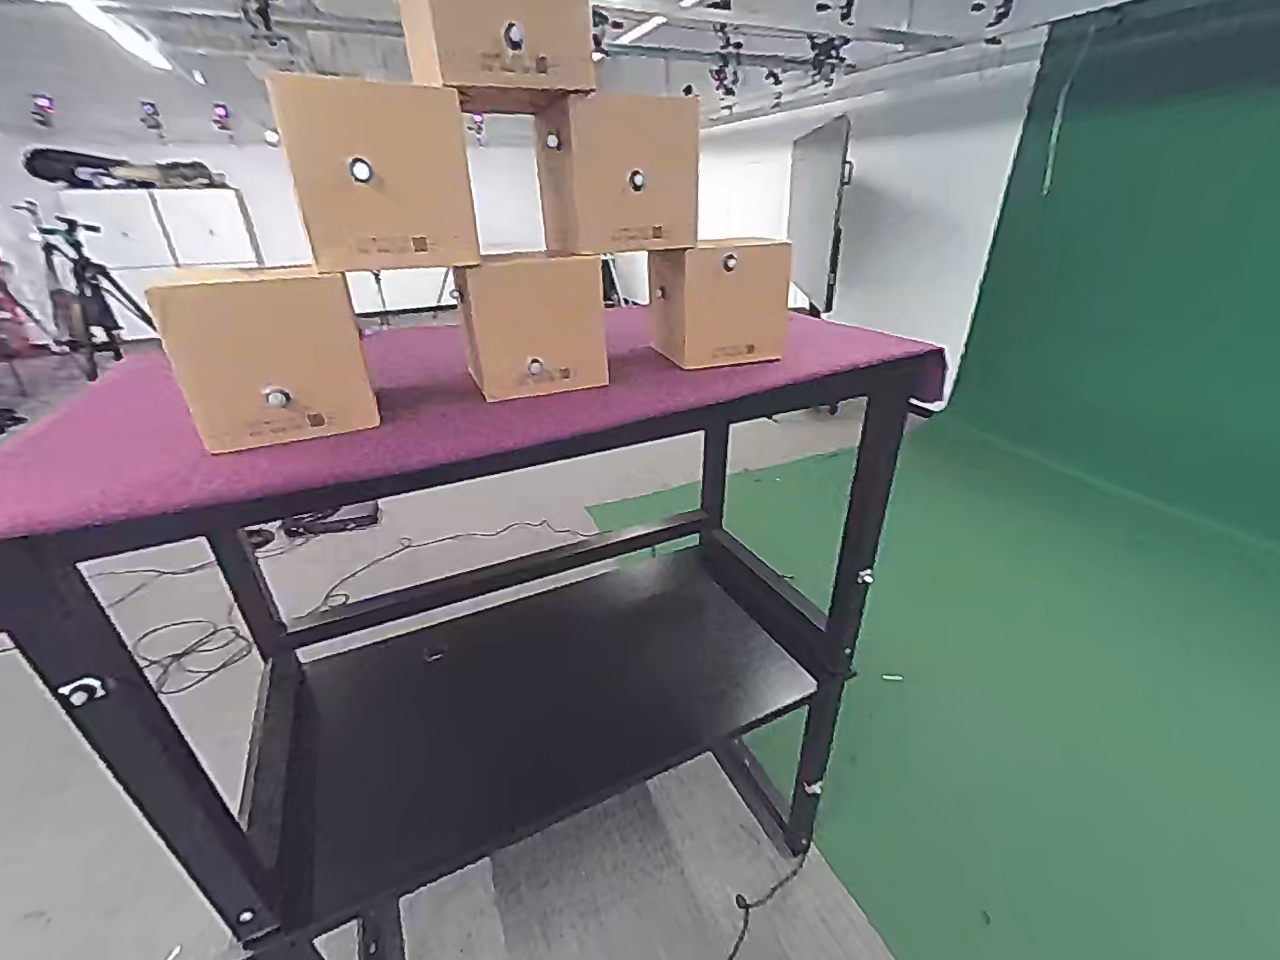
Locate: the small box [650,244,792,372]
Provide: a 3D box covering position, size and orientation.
[{"bbox_3d":[0.117,-0.274,0.848,0.168,0.176,0.179,-10,27,-14],"label":"small box"}]

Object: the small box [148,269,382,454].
[{"bbox_3d":[-0.406,-0.144,0.620,0.168,0.176,0.179,-14,30,-23],"label":"small box"}]

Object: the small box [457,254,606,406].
[{"bbox_3d":[-0.152,-0.212,0.745,0.168,0.176,0.179,-13,29,-19],"label":"small box"}]

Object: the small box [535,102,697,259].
[{"bbox_3d":[-0.032,-0.391,0.725,0.168,0.176,0.179,-12,28,-19],"label":"small box"}]

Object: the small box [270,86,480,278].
[{"bbox_3d":[-0.289,-0.321,0.607,0.168,0.176,0.179,-14,29,-25],"label":"small box"}]
